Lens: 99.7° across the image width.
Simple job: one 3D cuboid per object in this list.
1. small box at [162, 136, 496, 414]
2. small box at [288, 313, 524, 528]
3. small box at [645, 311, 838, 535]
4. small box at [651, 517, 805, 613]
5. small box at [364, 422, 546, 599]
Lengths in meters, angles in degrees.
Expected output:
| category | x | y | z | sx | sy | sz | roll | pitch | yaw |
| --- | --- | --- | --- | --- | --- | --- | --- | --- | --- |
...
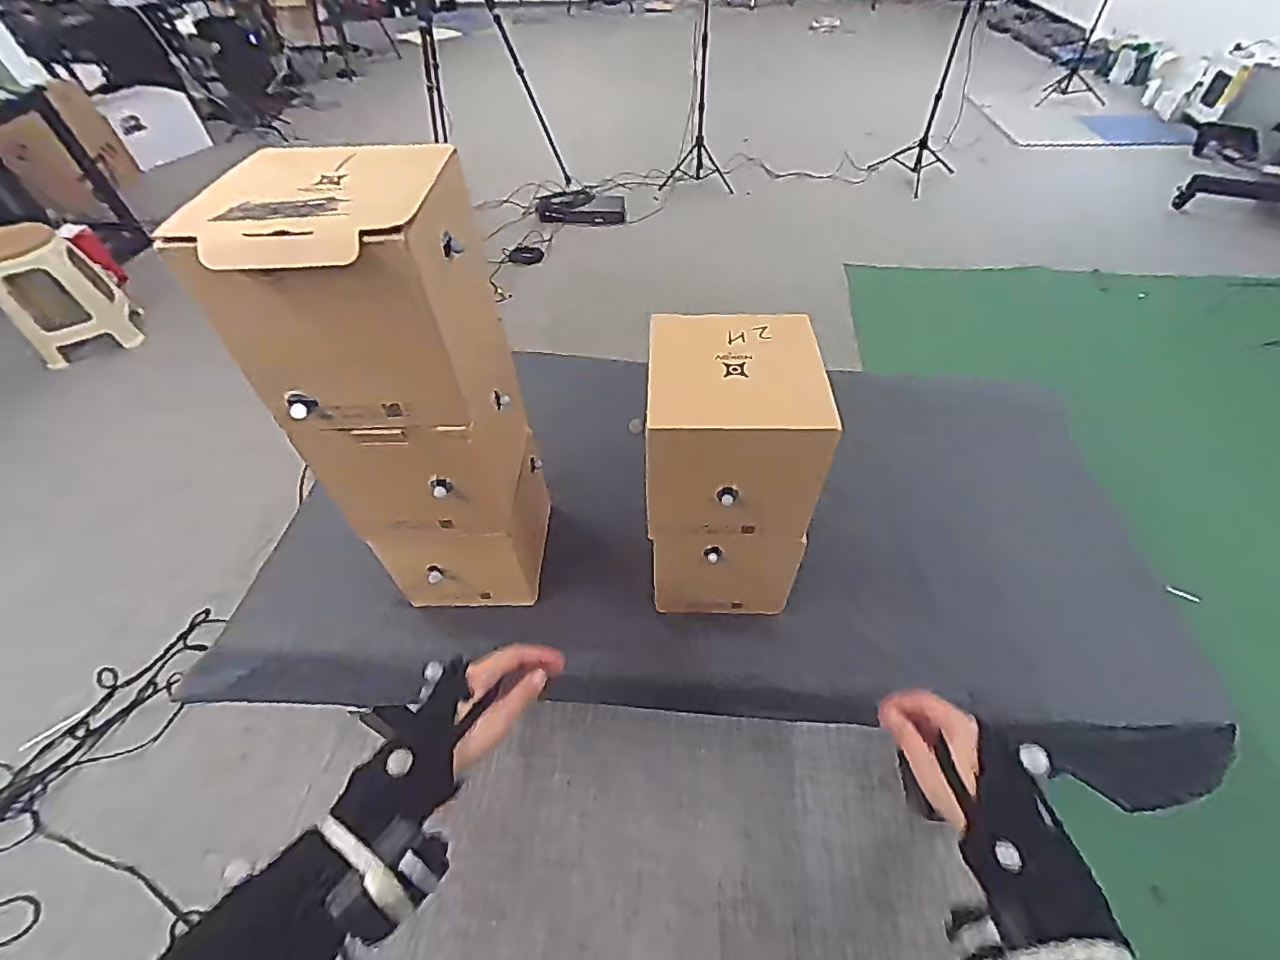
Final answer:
| category | x | y | z | sx | sy | sz | roll | pitch | yaw |
| --- | --- | --- | --- | --- | --- | --- | --- | --- | --- |
| small box | -0.228 | -0.170 | 0.462 | 0.168 | 0.176 | 0.179 | -1 | 48 | -1 |
| small box | -0.227 | -0.061 | 0.585 | 0.168 | 0.176 | 0.179 | 0 | 48 | -1 |
| small box | 0.092 | -0.057 | 0.570 | 0.168 | 0.176 | 0.179 | 2 | 50 | 2 |
| small box | 0.101 | 0.050 | 0.696 | 0.168 | 0.176 | 0.179 | 1 | 49 | 2 |
| small box | -0.223 | 0.043 | 0.710 | 0.168 | 0.176 | 0.179 | 0 | 49 | 1 |
